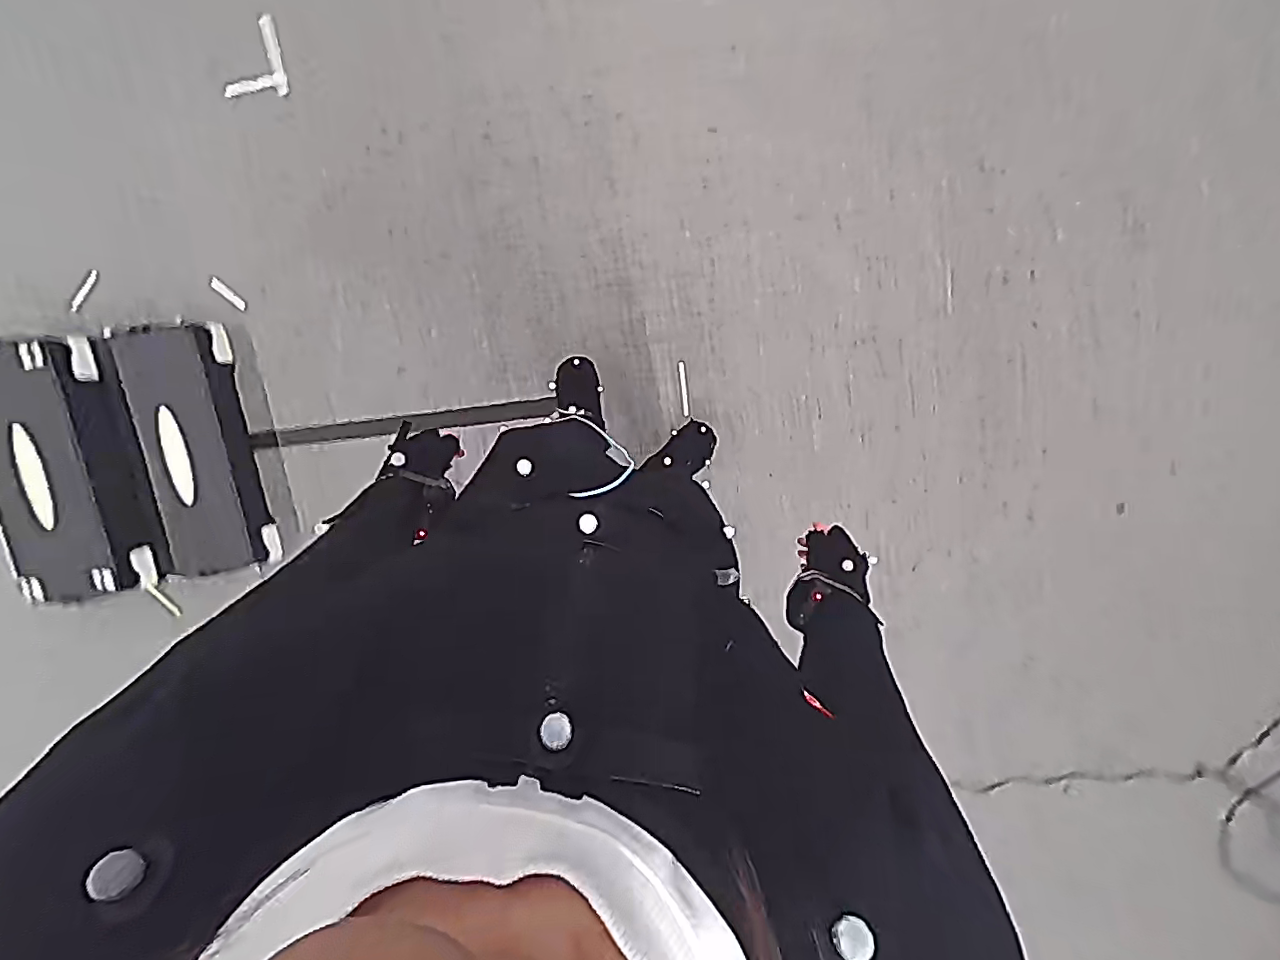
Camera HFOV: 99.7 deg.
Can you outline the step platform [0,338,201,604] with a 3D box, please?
[{"bbox_3d":[-1.449,-0.020,1.425,0.286,0.204,0.684,-8,99,4],"label":"step platform"}]
